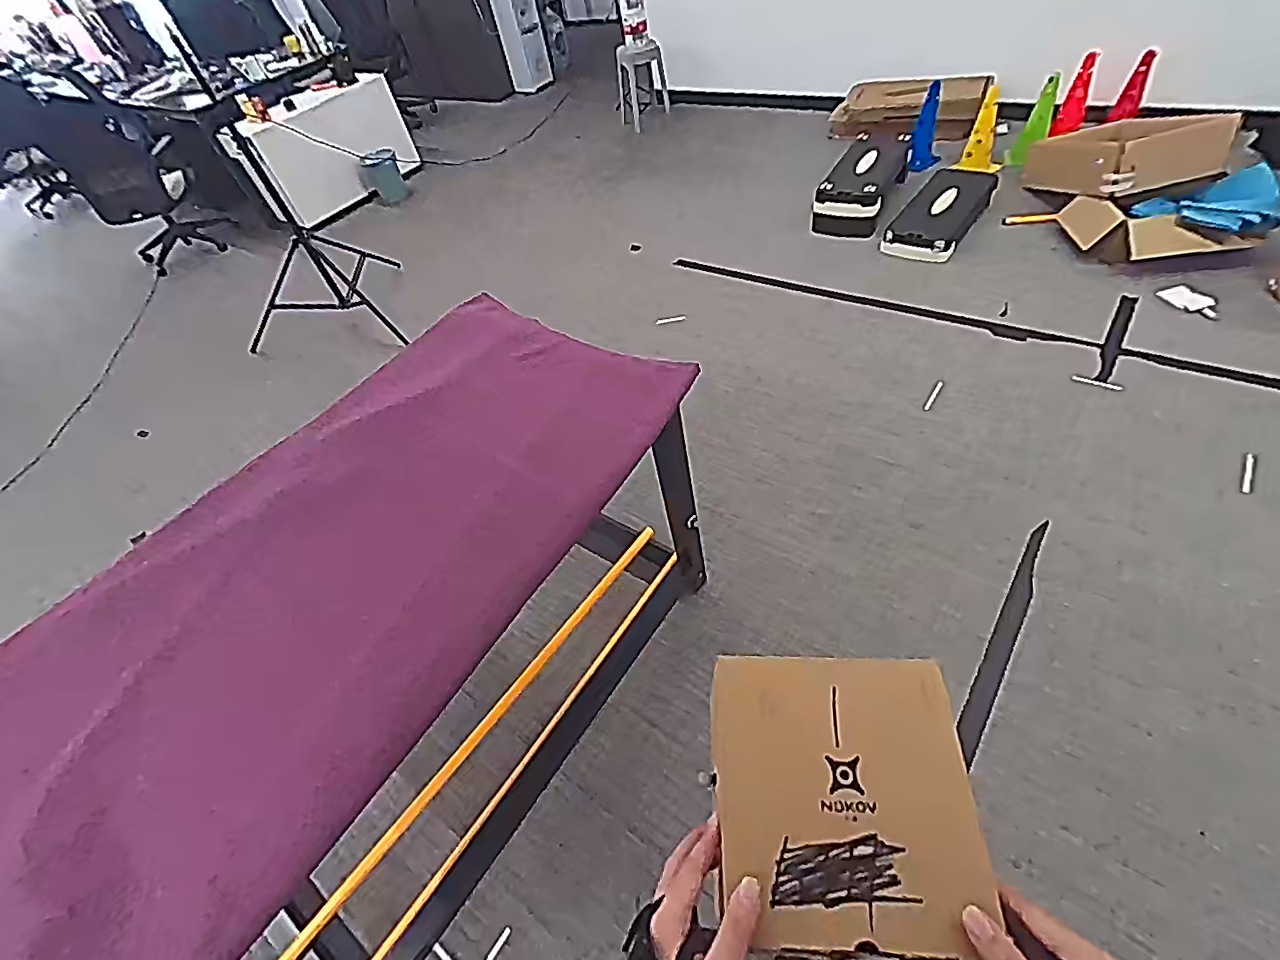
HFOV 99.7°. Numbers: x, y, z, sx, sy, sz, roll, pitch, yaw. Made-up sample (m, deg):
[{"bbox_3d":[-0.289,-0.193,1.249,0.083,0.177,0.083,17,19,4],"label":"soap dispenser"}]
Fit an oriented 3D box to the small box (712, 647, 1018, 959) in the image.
[{"bbox_3d":[0.143,0.242,0.422,0.168,0.176,0.179,0,56,5],"label":"small box"}]
